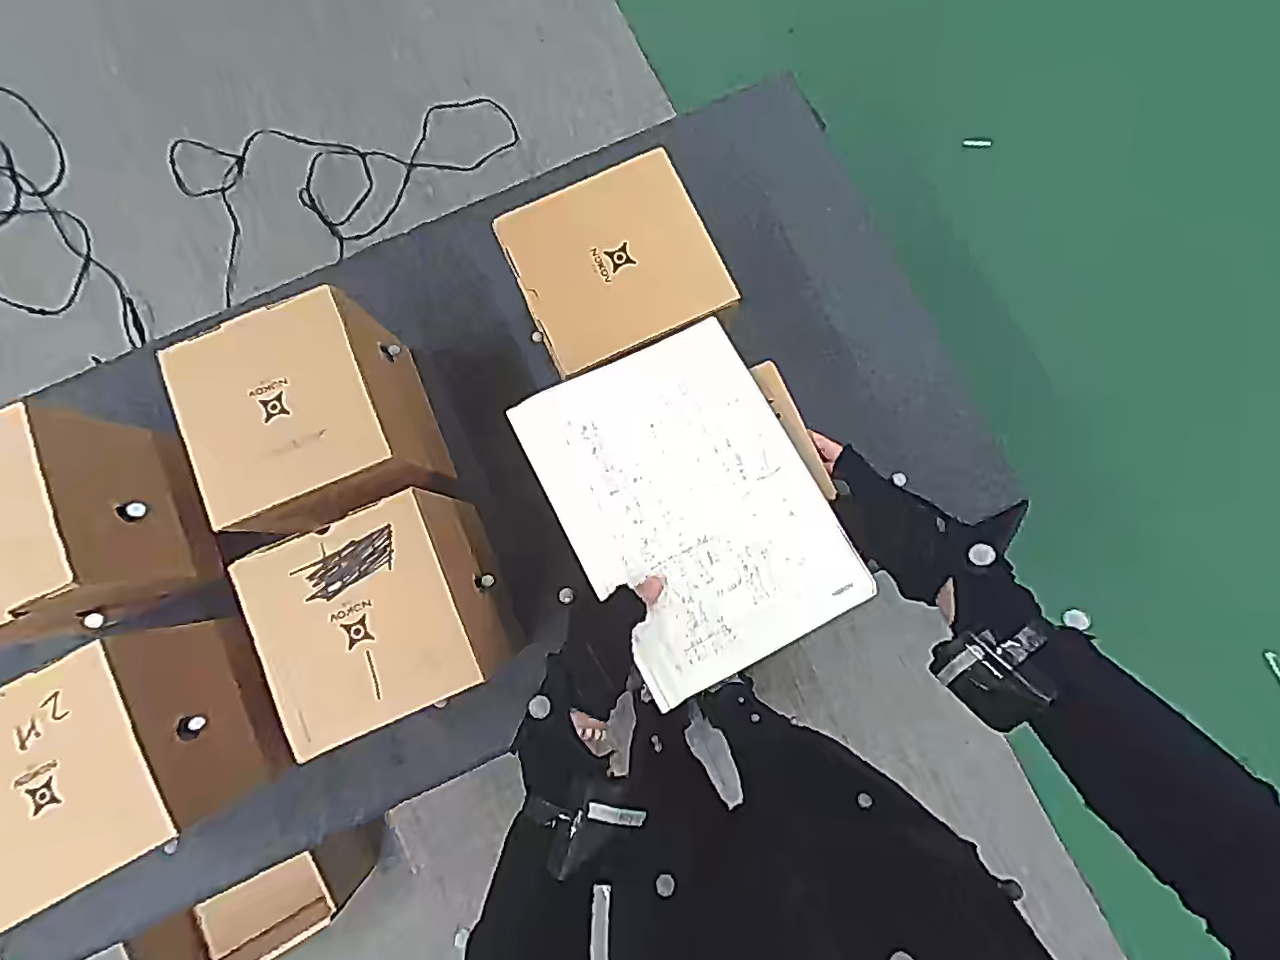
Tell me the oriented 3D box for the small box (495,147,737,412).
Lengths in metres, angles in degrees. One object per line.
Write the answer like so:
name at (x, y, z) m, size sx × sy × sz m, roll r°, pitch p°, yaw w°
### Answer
small box at (-0.022, -0.192, 0.568) m, size 0.179 × 0.176 × 0.168 m, roll -25°, pitch 83°, yaw -2°
